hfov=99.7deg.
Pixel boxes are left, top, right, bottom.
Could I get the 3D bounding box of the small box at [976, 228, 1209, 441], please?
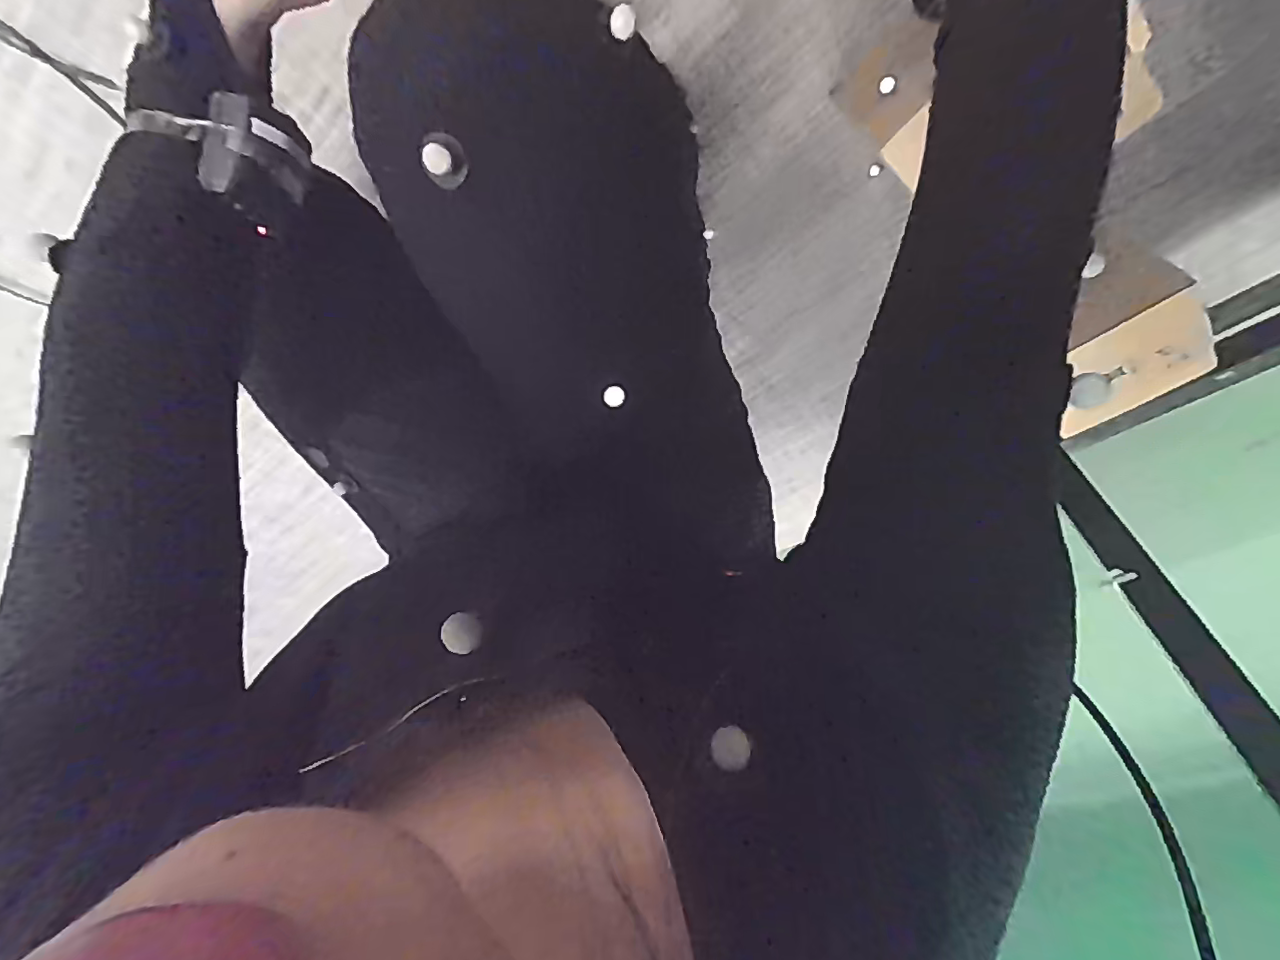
[{"bbox_3d":[0.585,-0.191,0.723,0.179,0.176,0.168,-35,129,30],"label":"small box"}]
